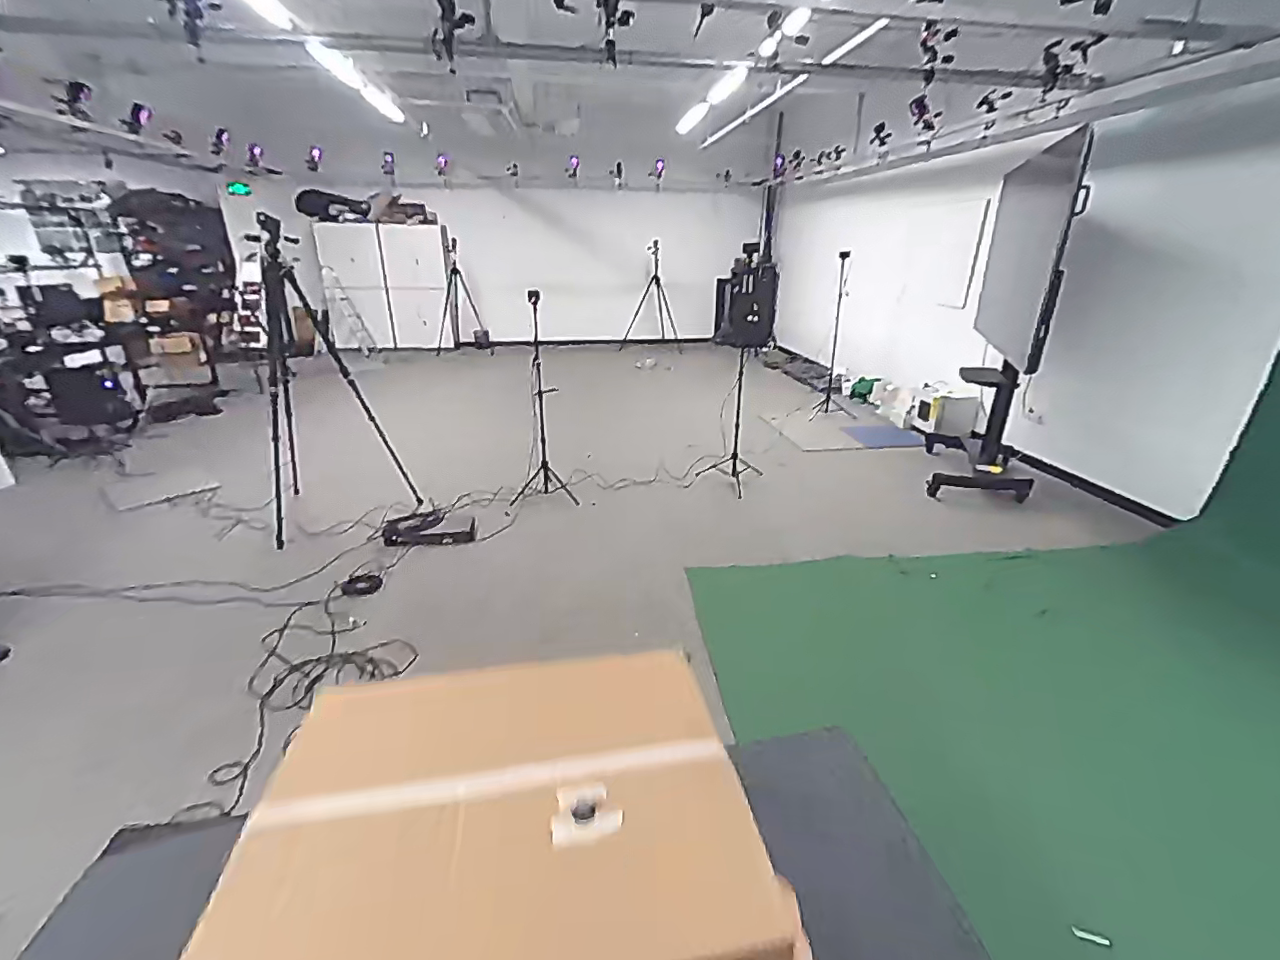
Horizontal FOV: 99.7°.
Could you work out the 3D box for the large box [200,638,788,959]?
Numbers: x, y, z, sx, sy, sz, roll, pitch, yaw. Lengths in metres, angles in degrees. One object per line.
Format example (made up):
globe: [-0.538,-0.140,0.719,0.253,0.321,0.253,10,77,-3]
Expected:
large box: [-0.115,0.398,0.542,0.408,0.320,0.320,-3,22,-10]
